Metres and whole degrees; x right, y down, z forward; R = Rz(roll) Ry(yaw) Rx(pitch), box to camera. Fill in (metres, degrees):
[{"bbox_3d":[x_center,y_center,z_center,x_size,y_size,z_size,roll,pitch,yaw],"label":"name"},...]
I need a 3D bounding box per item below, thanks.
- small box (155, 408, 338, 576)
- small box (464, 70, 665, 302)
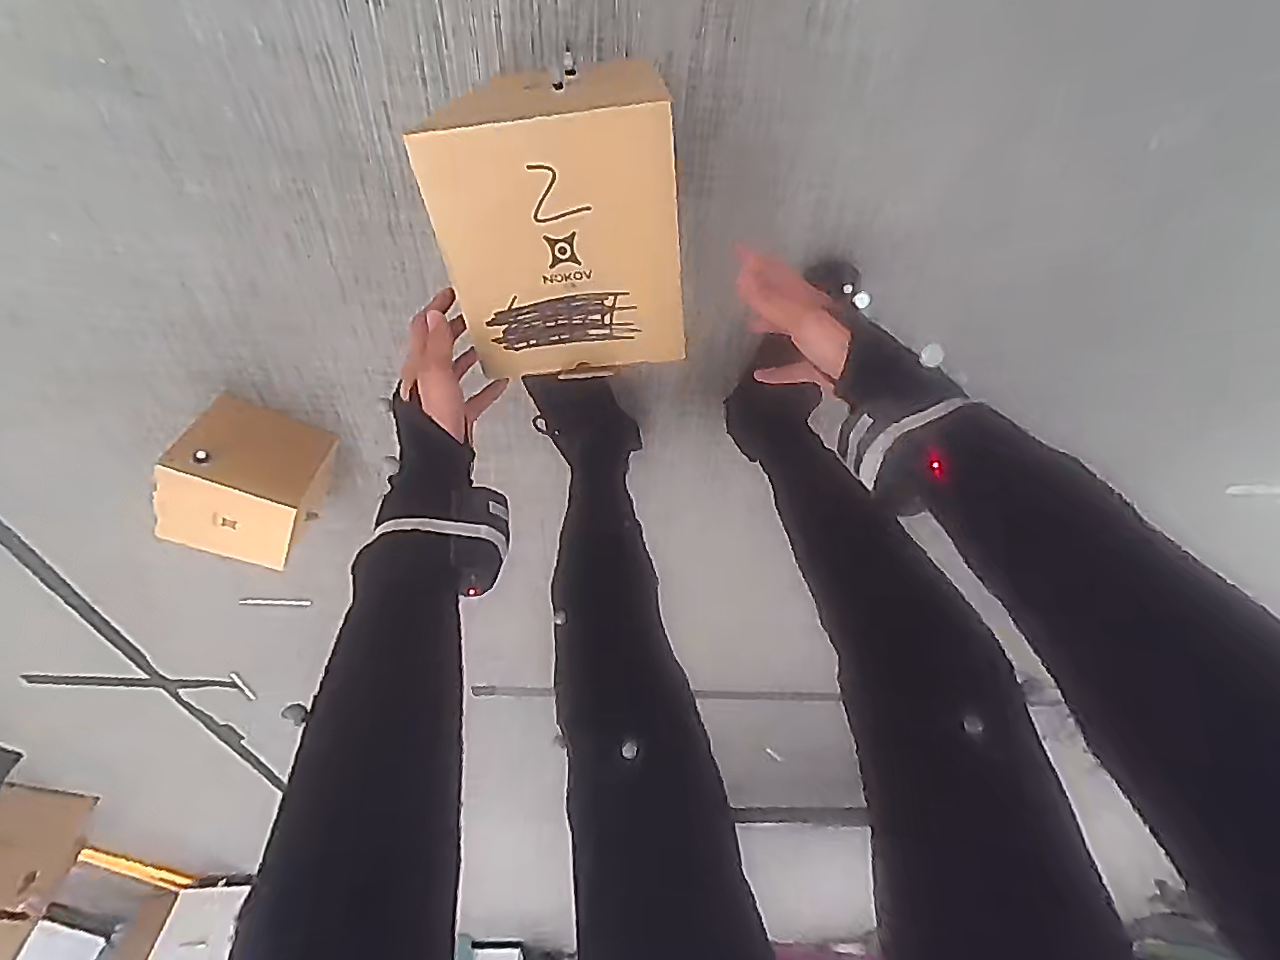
[{"bbox_3d":[-0.600,0.017,0.840,0.179,0.176,0.168,23,127,-21],"label":"small box"},{"bbox_3d":[-0.066,-0.311,0.565,0.168,0.176,0.179,-6,132,2],"label":"small box"}]
